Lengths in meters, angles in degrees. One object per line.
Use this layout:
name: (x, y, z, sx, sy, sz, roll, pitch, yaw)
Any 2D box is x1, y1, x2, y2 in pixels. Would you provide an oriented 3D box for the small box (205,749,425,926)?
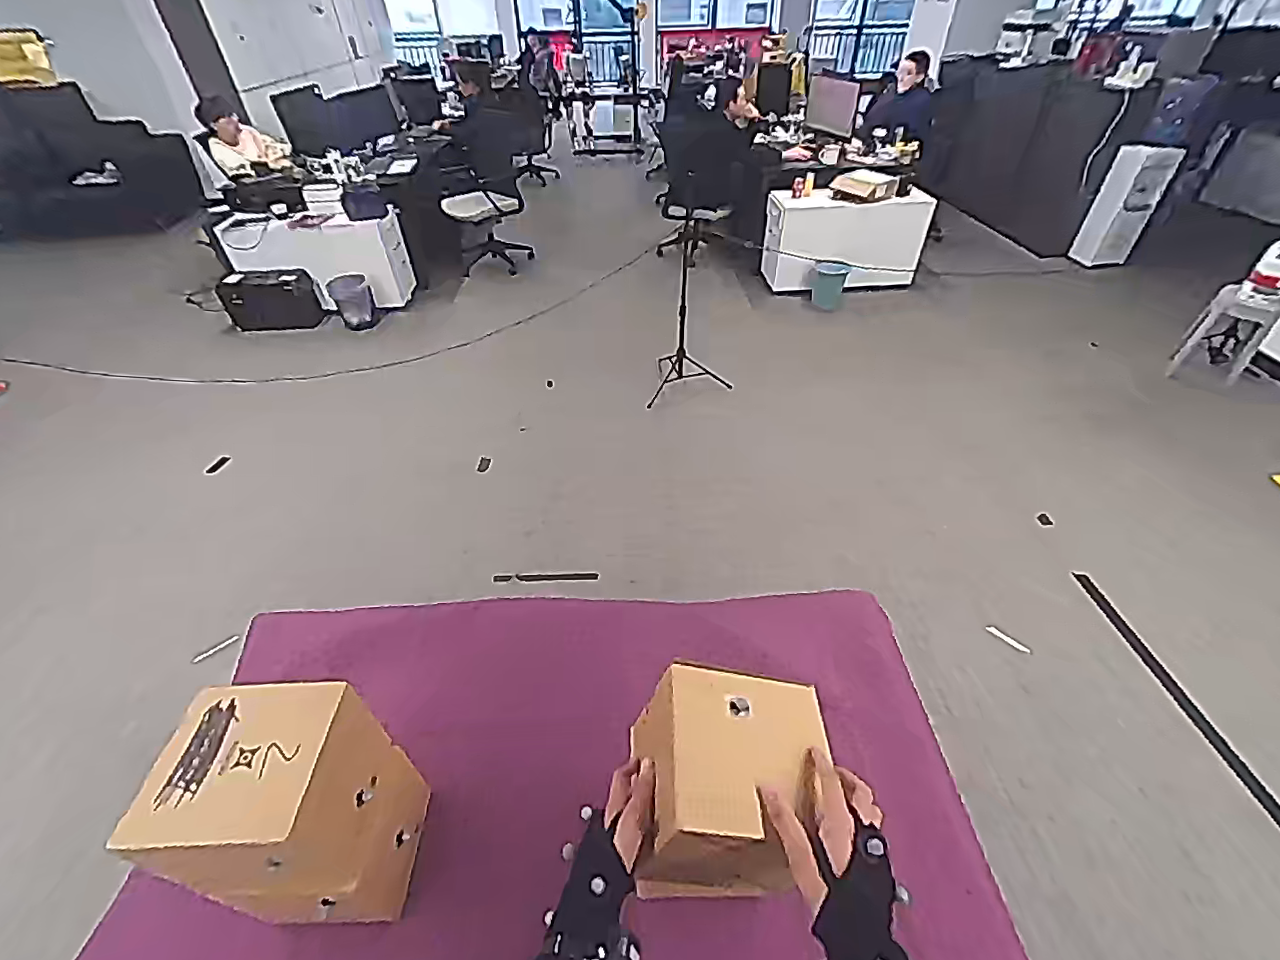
small box: (-0.414, 0.483, 0.731, 0.179, 0.176, 0.168, -1, 42, 0)

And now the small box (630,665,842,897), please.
small box: (0.091, 0.335, 0.598, 0.179, 0.168, 0.176, 13, 39, -9)

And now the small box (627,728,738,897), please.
small box: (0.074, 0.457, 0.748, 0.179, 0.176, 0.168, -2, 42, -1)
